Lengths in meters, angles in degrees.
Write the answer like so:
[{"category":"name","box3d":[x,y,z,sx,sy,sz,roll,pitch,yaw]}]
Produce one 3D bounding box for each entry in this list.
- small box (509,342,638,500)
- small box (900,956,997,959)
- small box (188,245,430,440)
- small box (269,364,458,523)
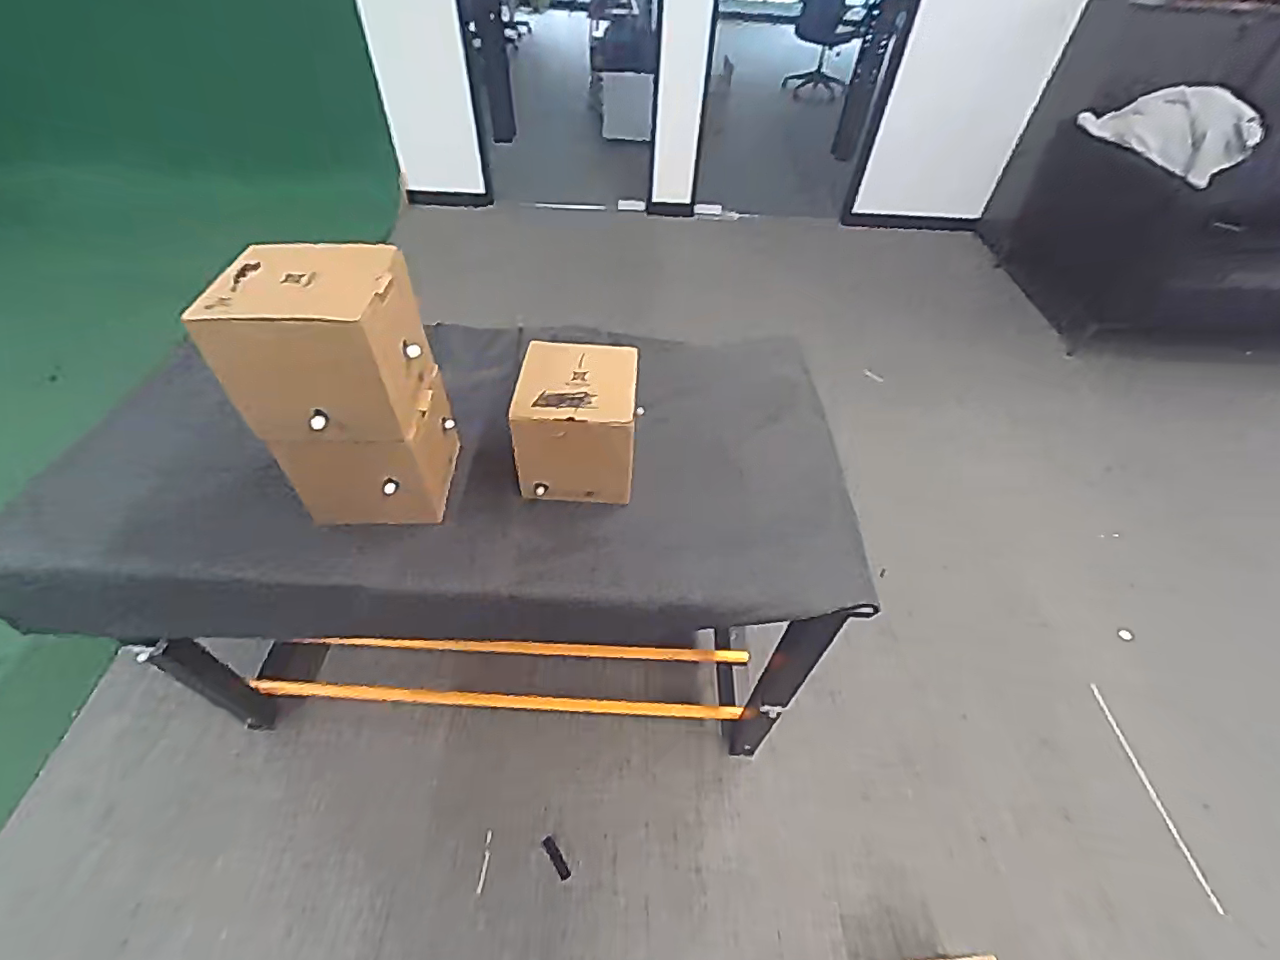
[{"category":"small box","box3d":[-0.090,-0.087,0.822,0.168,0.176,0.179,4,47,-1]},{"category":"small box","box3d":[0.526,0.930,0.926,0.179,0.176,0.168,-2,48,-4]},{"category":"small box","box3d":[-0.370,-0.161,0.652,0.179,0.176,0.168,0,47,-4]},{"category":"small box","box3d":[-0.373,-0.051,0.774,0.179,0.176,0.168,-1,47,-3]}]
